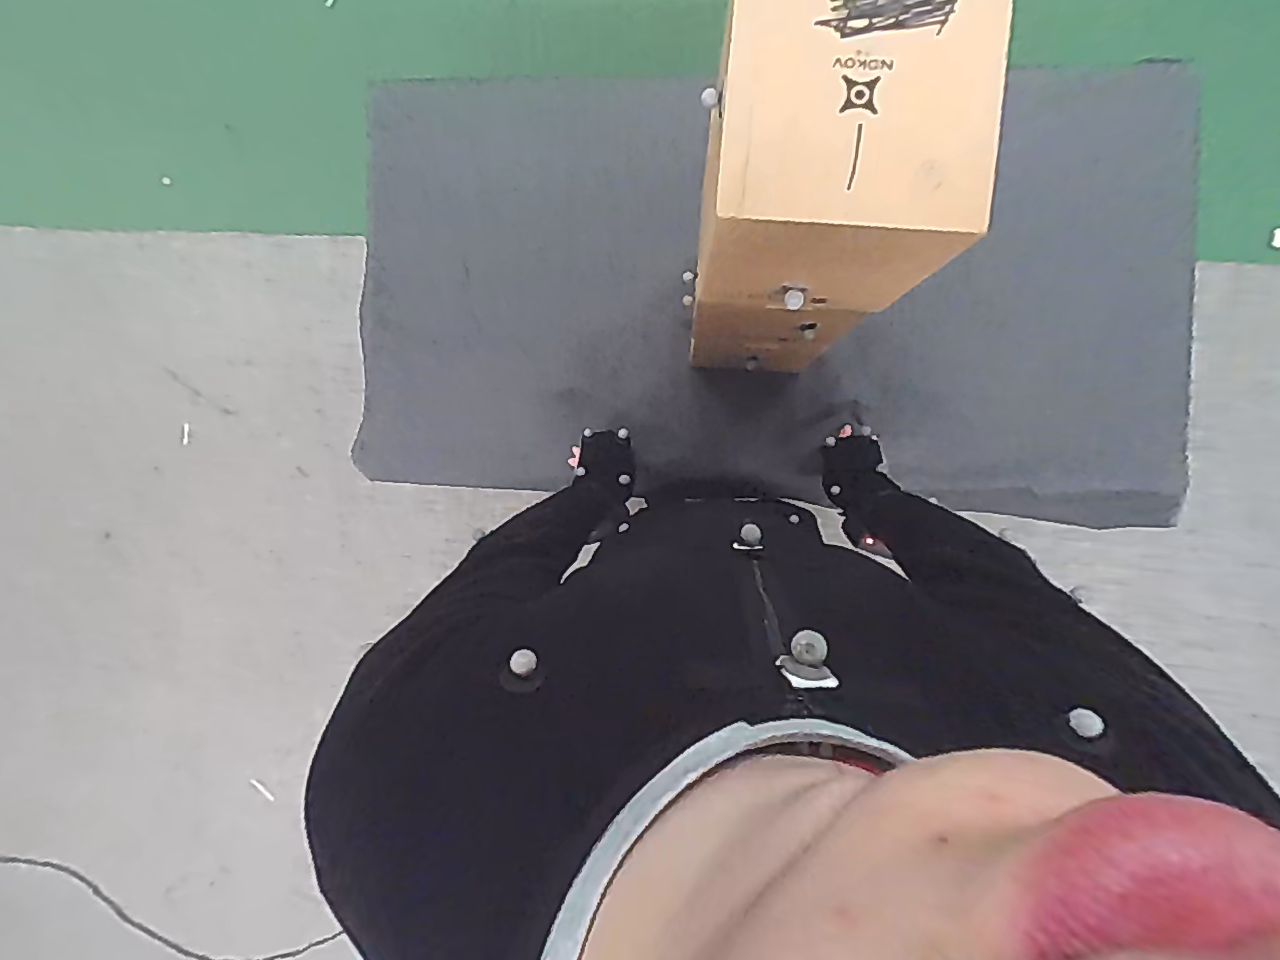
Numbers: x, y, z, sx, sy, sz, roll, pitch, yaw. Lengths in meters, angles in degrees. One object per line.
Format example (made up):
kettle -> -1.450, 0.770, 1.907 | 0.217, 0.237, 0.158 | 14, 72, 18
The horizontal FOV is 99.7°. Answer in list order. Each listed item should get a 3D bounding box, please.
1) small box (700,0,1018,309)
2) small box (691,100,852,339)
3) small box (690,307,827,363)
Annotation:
small box -> 0.137, -0.243, 0.401 | 0.168, 0.176, 0.179 | 6, 94, 3
small box -> 0.143, -0.253, 0.565 | 0.168, 0.176, 0.179 | 4, 91, 3
small box -> 0.156, -0.259, 0.727 | 0.168, 0.176, 0.179 | 5, 93, 3
